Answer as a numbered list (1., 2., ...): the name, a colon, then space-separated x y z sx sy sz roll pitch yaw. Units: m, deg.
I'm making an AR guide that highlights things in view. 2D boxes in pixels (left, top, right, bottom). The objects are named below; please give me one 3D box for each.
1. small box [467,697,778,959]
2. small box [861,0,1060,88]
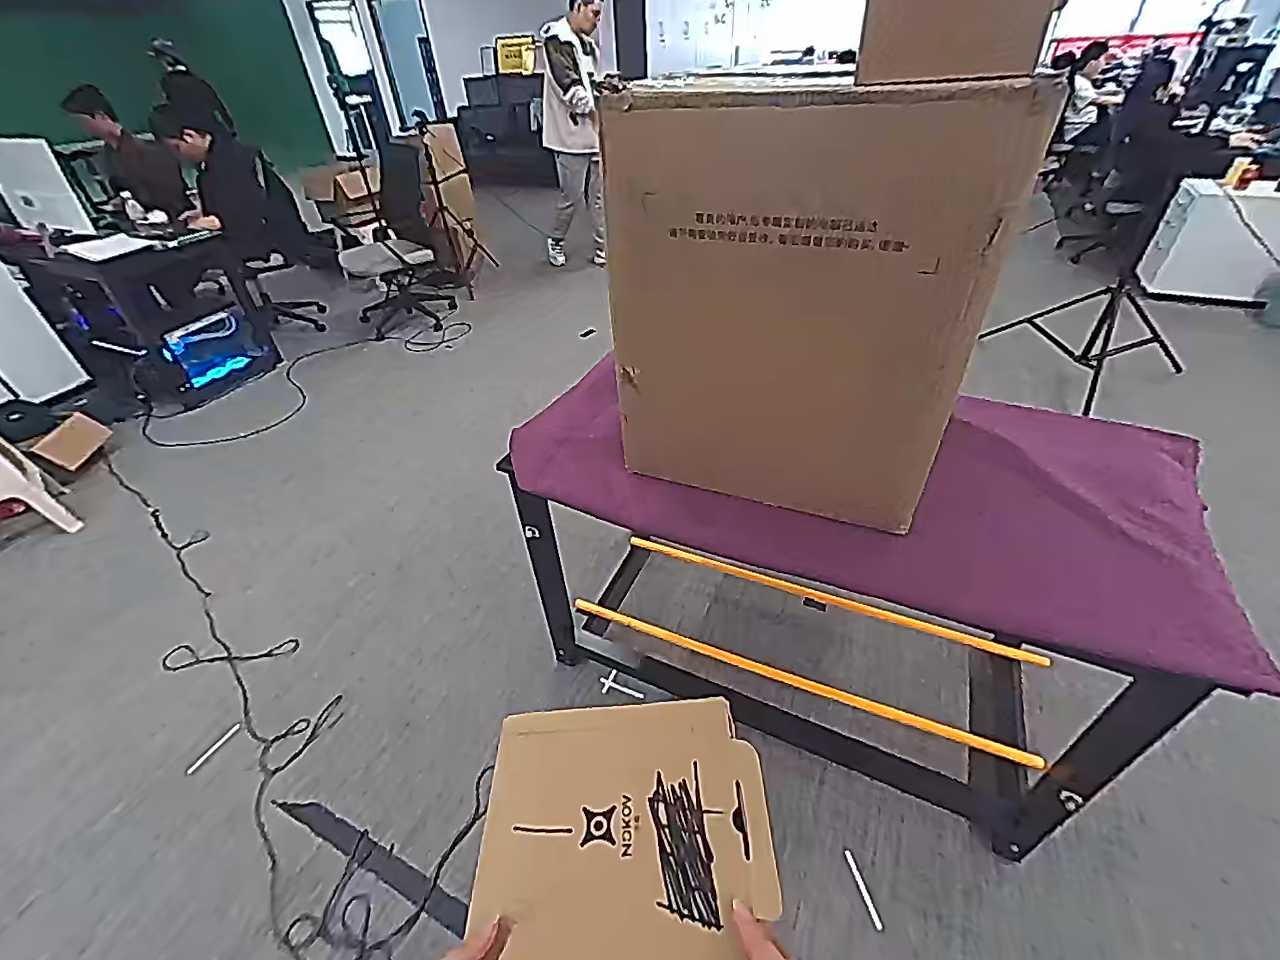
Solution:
1. small box: -0.003 0.283 0.403 0.179 0.176 0.168 -6 40 4
2. small box: 0.345 -0.527 0.573 0.179 0.176 0.168 14 43 22
